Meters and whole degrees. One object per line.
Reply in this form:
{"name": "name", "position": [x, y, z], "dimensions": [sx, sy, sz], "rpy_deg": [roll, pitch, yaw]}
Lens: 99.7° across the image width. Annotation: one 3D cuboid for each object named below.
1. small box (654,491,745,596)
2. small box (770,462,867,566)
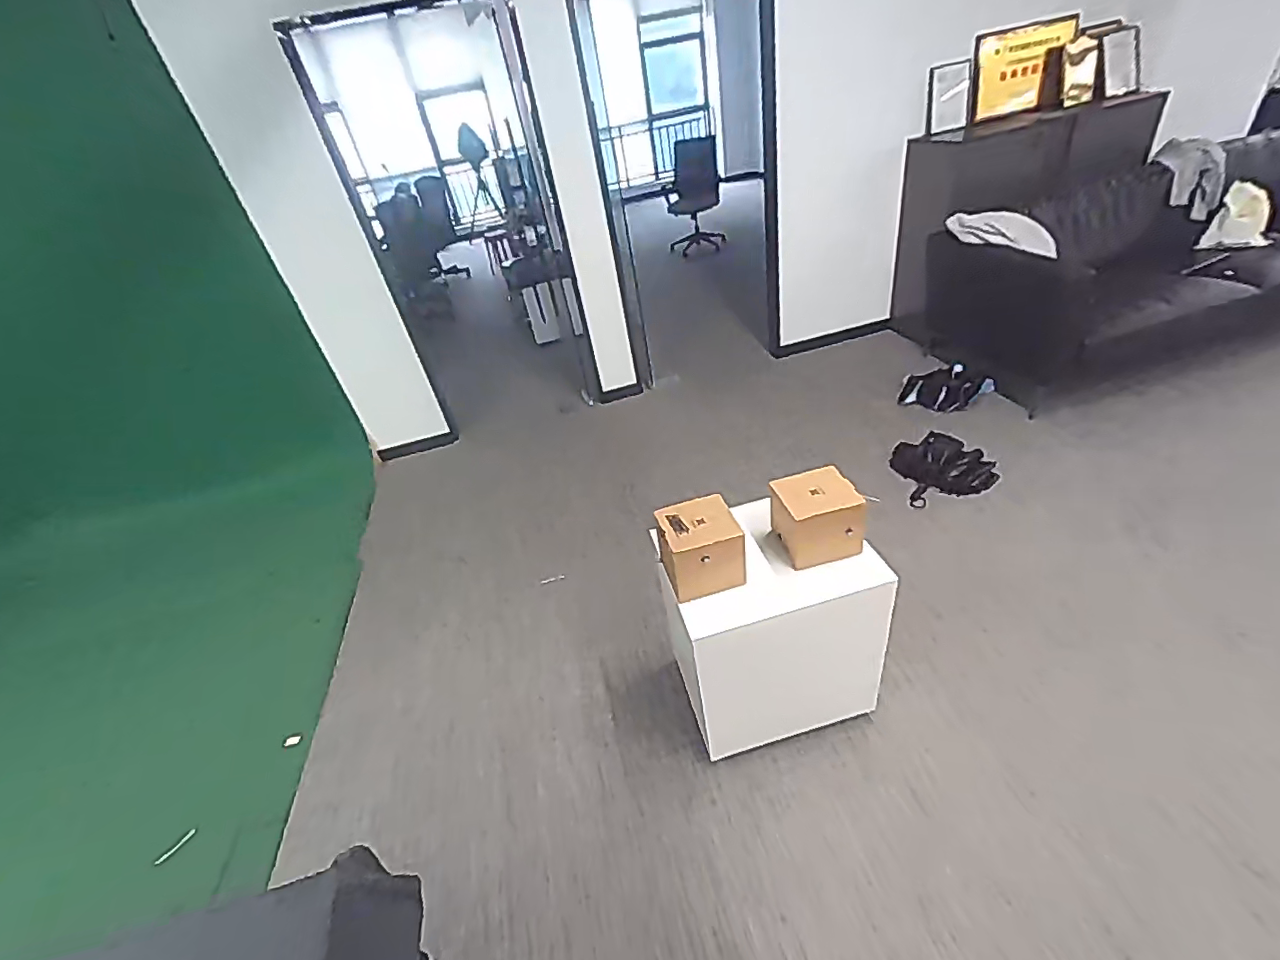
{"name": "small box", "position": [0.146, 0.157, 1.315], "dimensions": [0.179, 0.176, 0.168], "rpy_deg": [-15, 36, -7]}
{"name": "small box", "position": [0.435, 0.085, 1.337], "dimensions": [0.179, 0.176, 0.168], "rpy_deg": [-15, 35, -2]}
